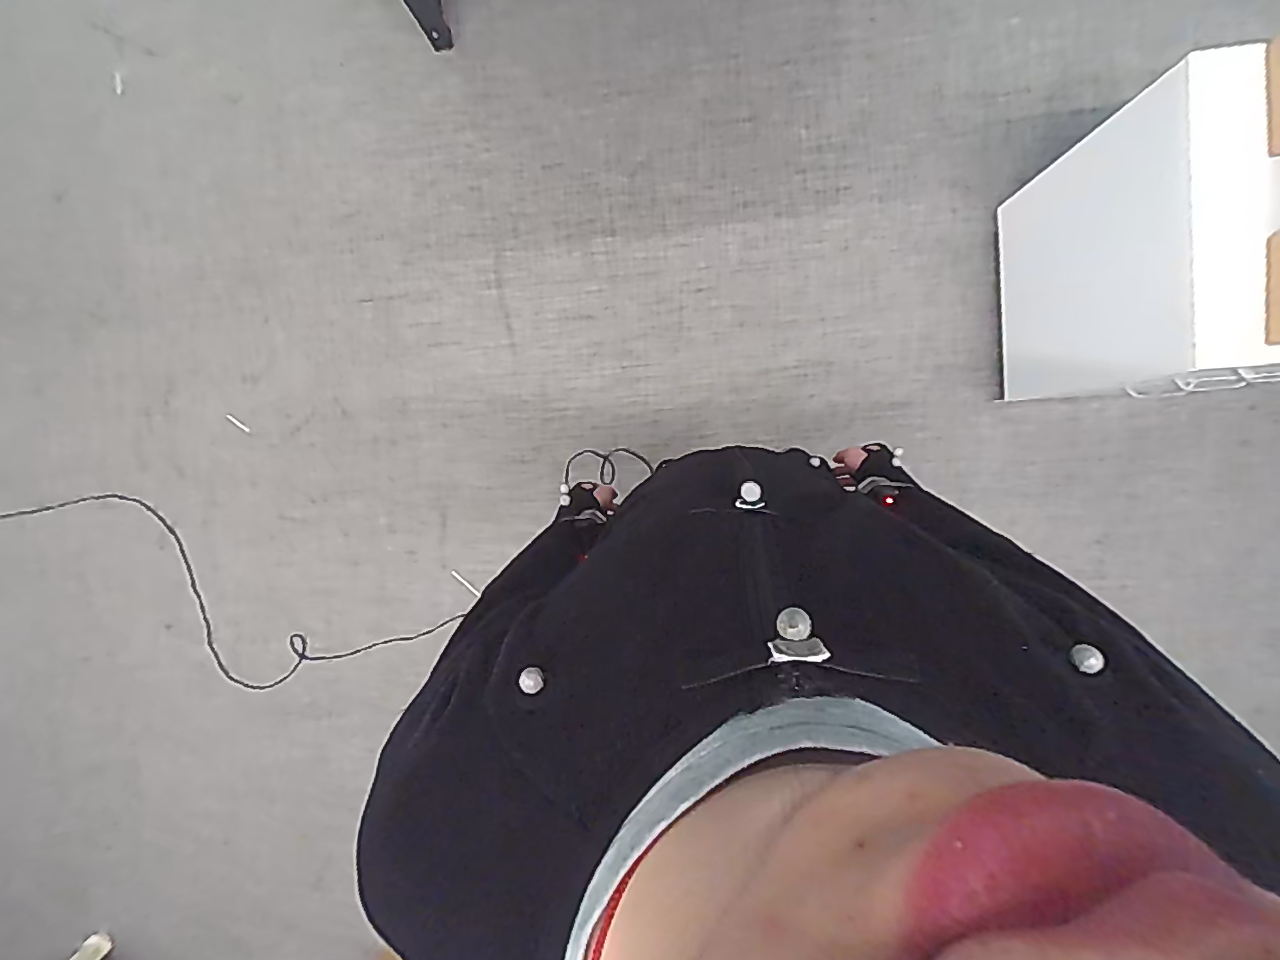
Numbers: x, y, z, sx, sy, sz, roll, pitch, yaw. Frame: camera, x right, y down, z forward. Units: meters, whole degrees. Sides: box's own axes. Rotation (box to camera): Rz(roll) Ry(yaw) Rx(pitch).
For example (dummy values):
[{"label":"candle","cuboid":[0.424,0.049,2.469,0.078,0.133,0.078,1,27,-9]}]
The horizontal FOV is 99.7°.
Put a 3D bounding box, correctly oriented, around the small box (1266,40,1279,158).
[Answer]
[{"label":"small box","cuboid":[1.056,-0.595,0.762,0.168,0.176,0.179,-5,94,6]}]
